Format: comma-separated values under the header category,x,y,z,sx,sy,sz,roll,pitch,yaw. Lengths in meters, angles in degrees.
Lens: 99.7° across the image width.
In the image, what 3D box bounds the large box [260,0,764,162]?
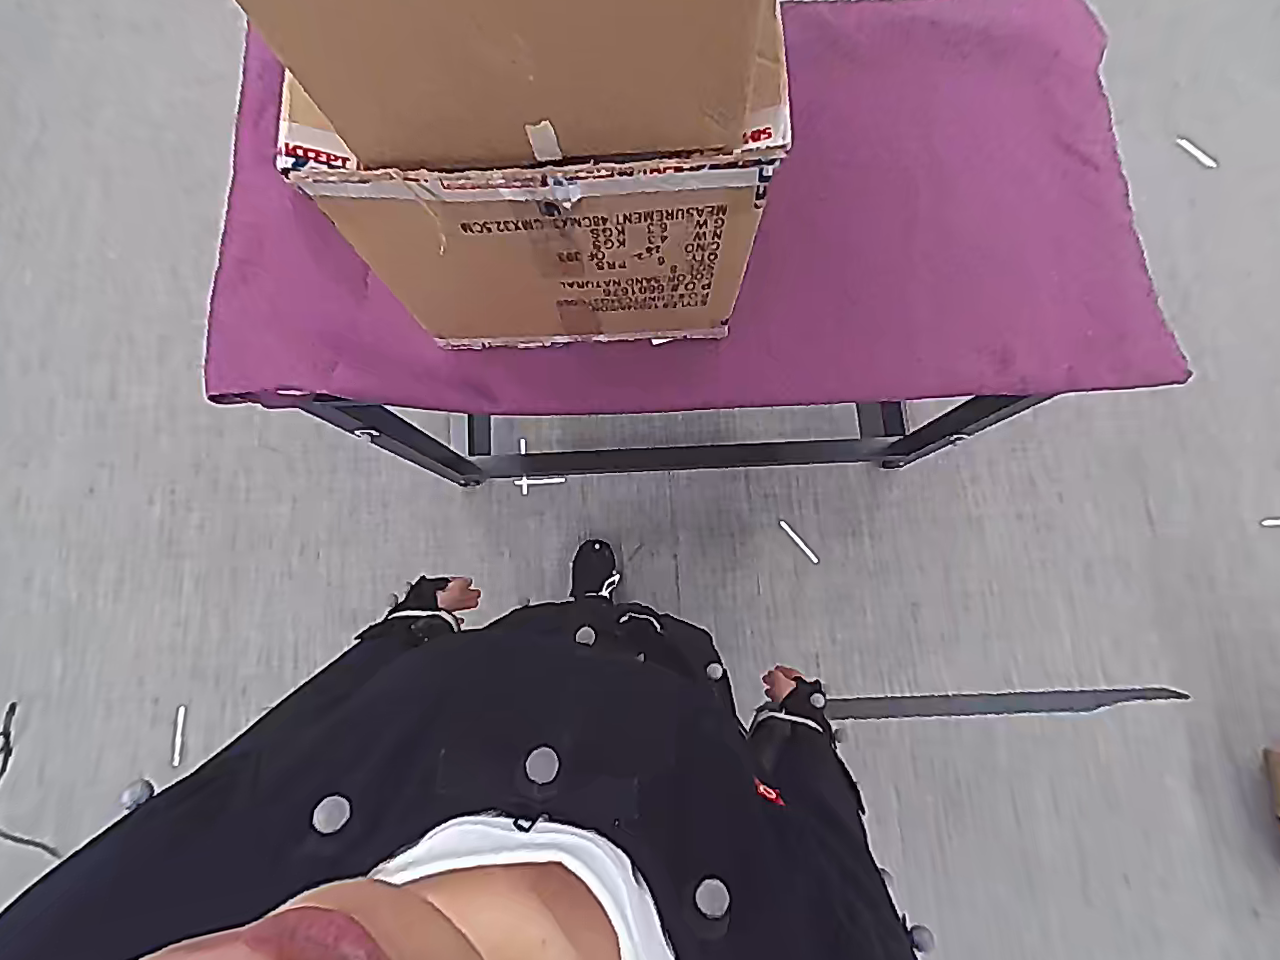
category,x,y,z,sx,sy,sz,roll,pitch,yaw
large box,-0.084,-0.484,0.320,0.320,0.320,0.408,-2,80,5
